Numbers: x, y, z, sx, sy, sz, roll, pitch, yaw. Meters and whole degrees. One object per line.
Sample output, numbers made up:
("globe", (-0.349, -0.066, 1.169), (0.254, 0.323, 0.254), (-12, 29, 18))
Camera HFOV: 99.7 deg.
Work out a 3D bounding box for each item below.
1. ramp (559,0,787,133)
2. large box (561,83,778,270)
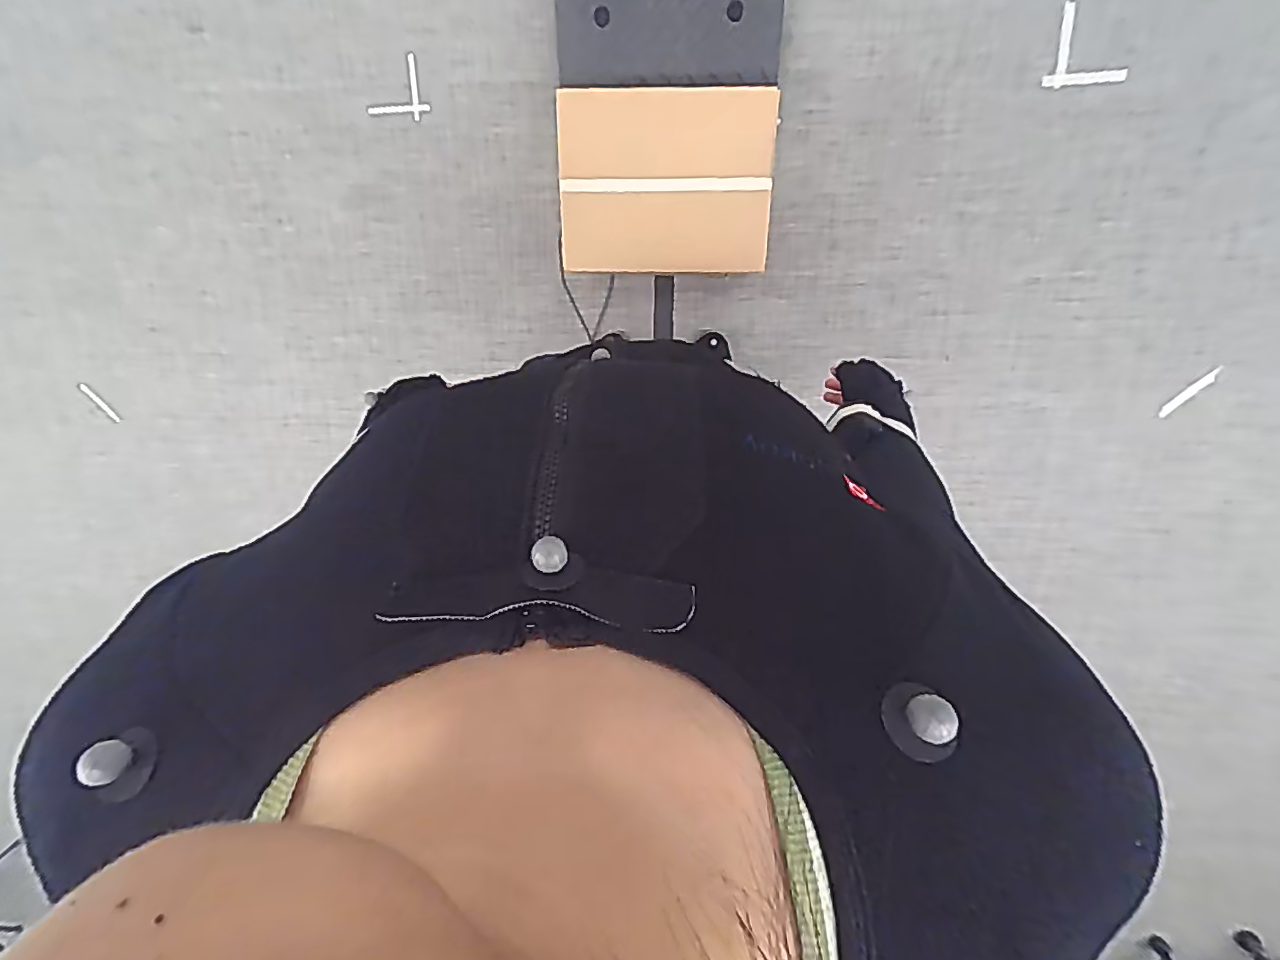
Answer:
("ramp", (0.067, -1.204, 1.069), (0.509, 0.206, 0.991), (-1, 107, 3))
("large box", (0.064, -0.623, 1.171), (0.408, 0.320, 0.320), (2, 110, 4))
